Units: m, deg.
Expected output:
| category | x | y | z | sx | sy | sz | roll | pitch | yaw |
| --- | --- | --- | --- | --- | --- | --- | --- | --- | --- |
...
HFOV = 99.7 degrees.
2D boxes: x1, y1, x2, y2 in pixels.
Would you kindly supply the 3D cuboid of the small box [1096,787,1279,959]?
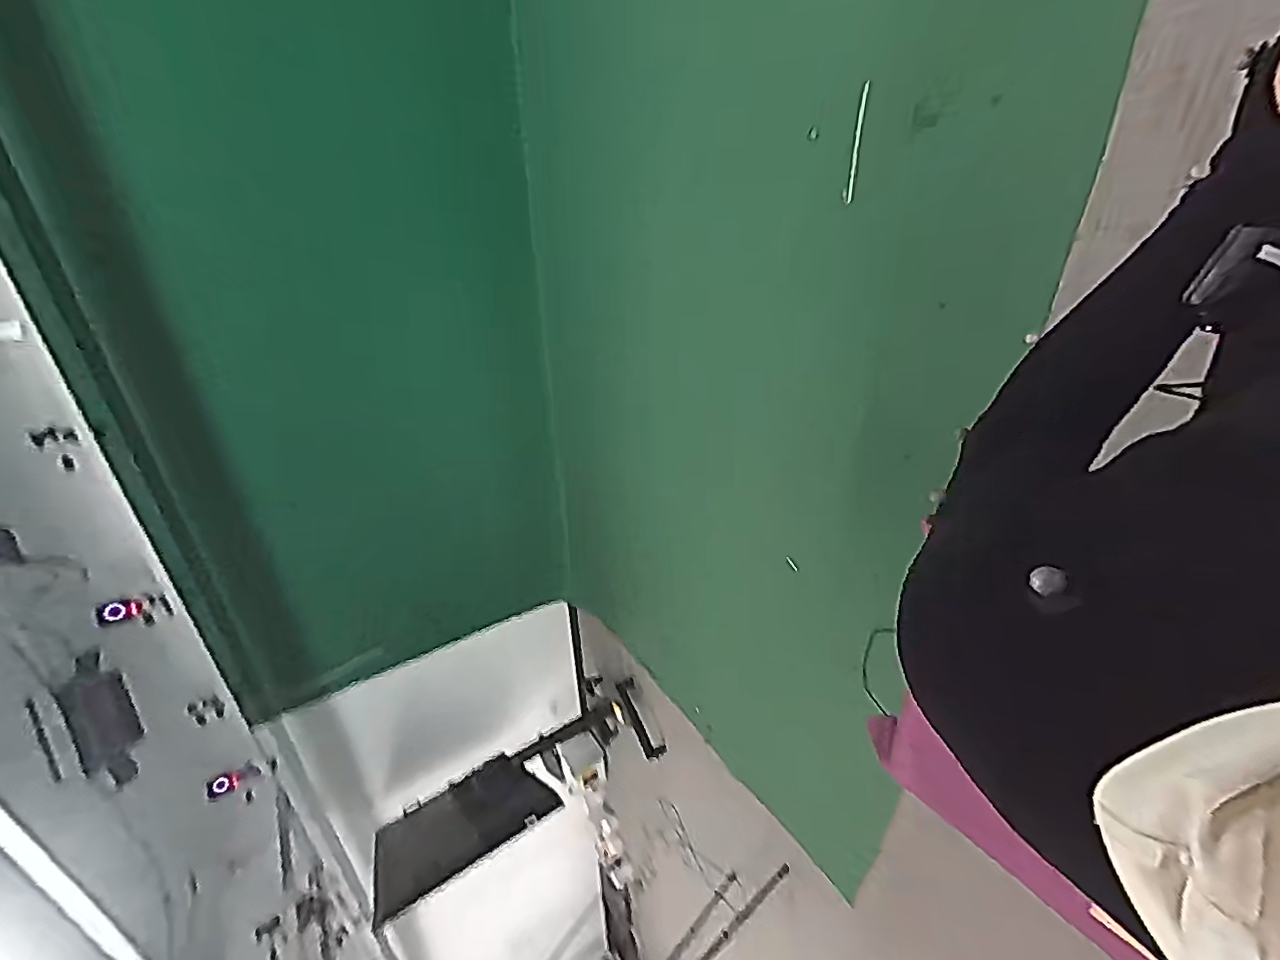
| category | x | y | z | sx | sy | sz | roll | pitch | yaw |
| --- | --- | --- | --- | --- | --- | --- | --- | --- | --- |
| small box | 0.770 | 0.572 | 0.733 | 0.168 | 0.176 | 0.179 | 27 | 128 | 50 |
